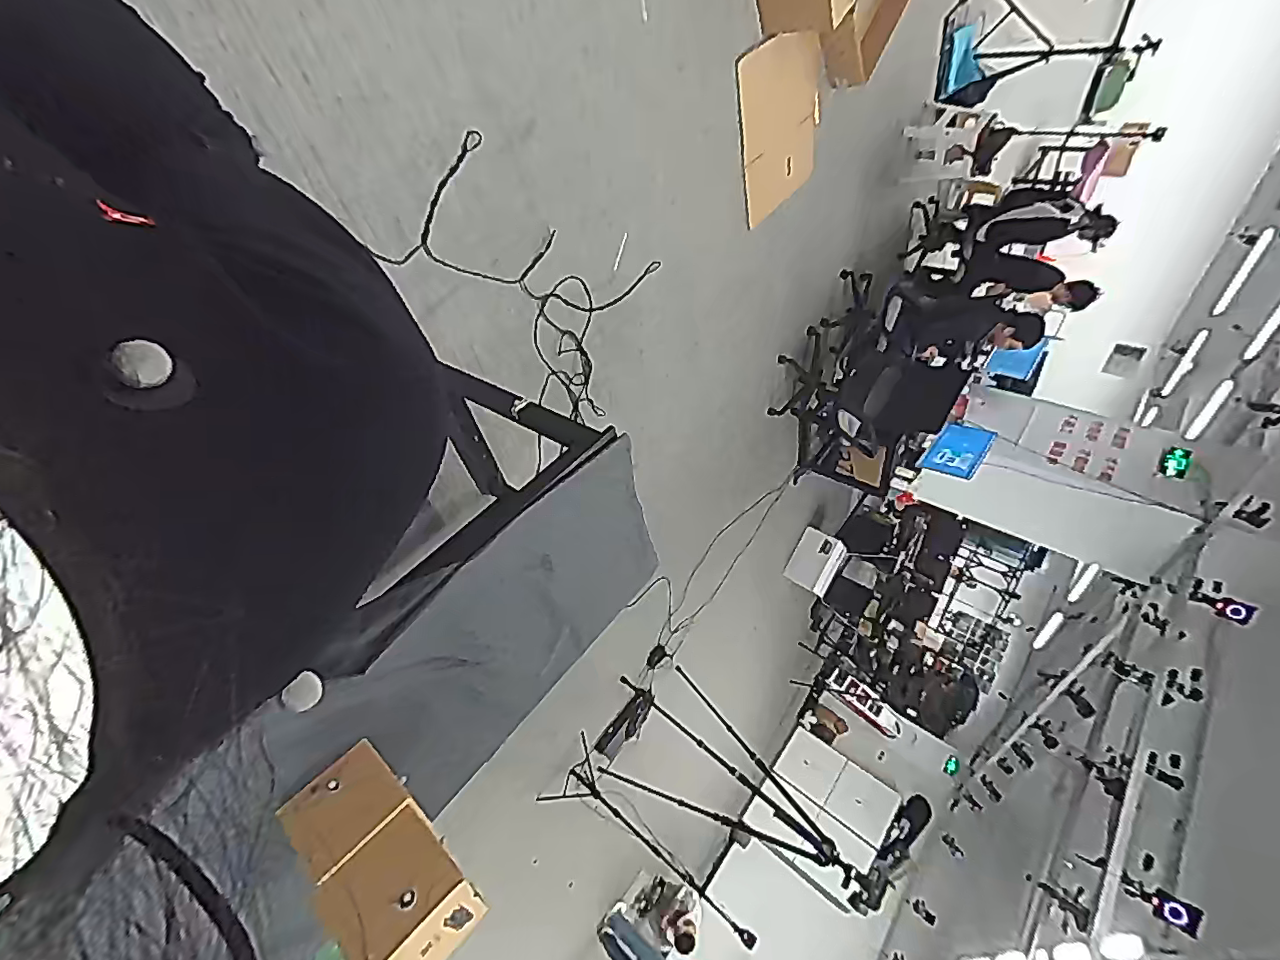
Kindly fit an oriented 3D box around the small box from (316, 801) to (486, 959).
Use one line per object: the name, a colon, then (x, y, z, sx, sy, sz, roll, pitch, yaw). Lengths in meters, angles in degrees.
small box: (-0.391, 0.683, 0.897, 0.179, 0.176, 0.168, -36, 138, -34)
